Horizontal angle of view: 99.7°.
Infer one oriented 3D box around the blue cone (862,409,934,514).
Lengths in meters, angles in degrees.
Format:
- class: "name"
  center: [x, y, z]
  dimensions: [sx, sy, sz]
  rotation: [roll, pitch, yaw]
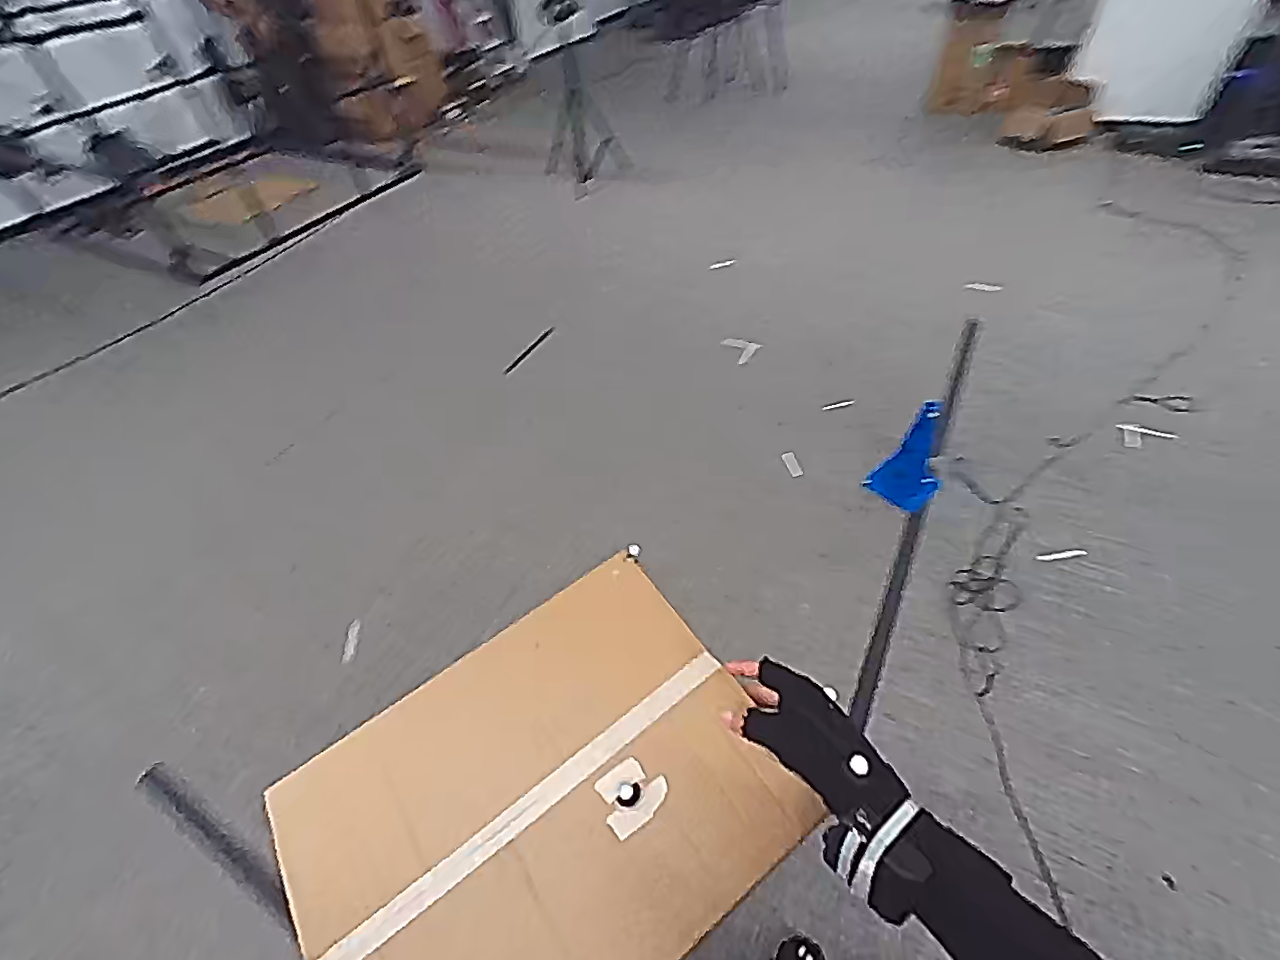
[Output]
- class: "blue cone"
  center: [0.891, -0.086, 1.782]
  dimensions: [0.192, 0.380, 0.193]
  rotation: [-35, 52, -23]
